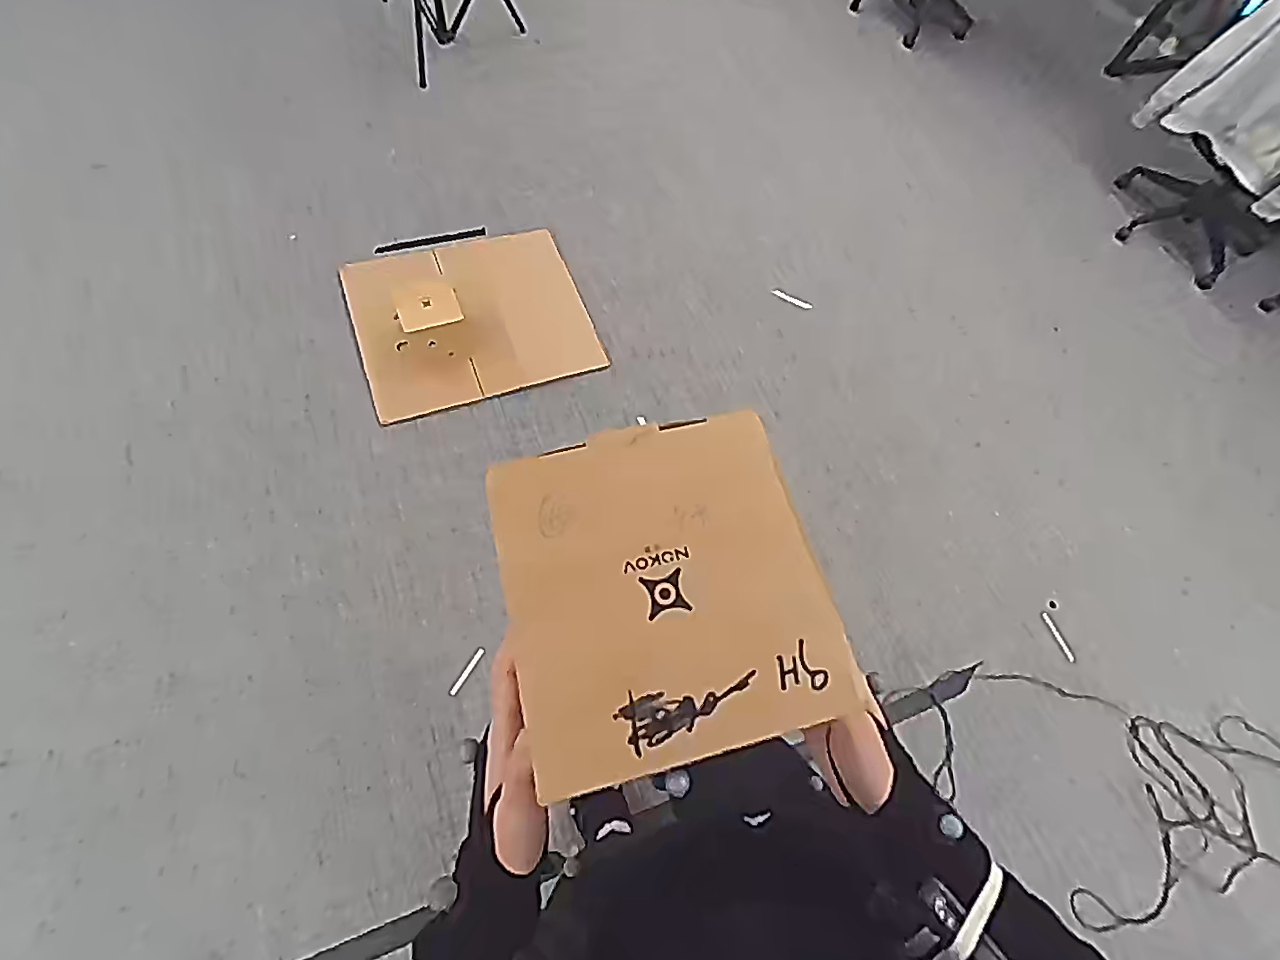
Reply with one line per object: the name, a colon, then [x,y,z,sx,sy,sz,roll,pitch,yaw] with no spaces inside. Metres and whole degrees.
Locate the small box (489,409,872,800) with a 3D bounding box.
small box: [0.012,0.083,0.355,0.168,0.176,0.179,-14,67,-6]

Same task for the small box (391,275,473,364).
small box: [-0.602,-0.460,1.581,0.168,0.176,0.179,-20,70,-16]
